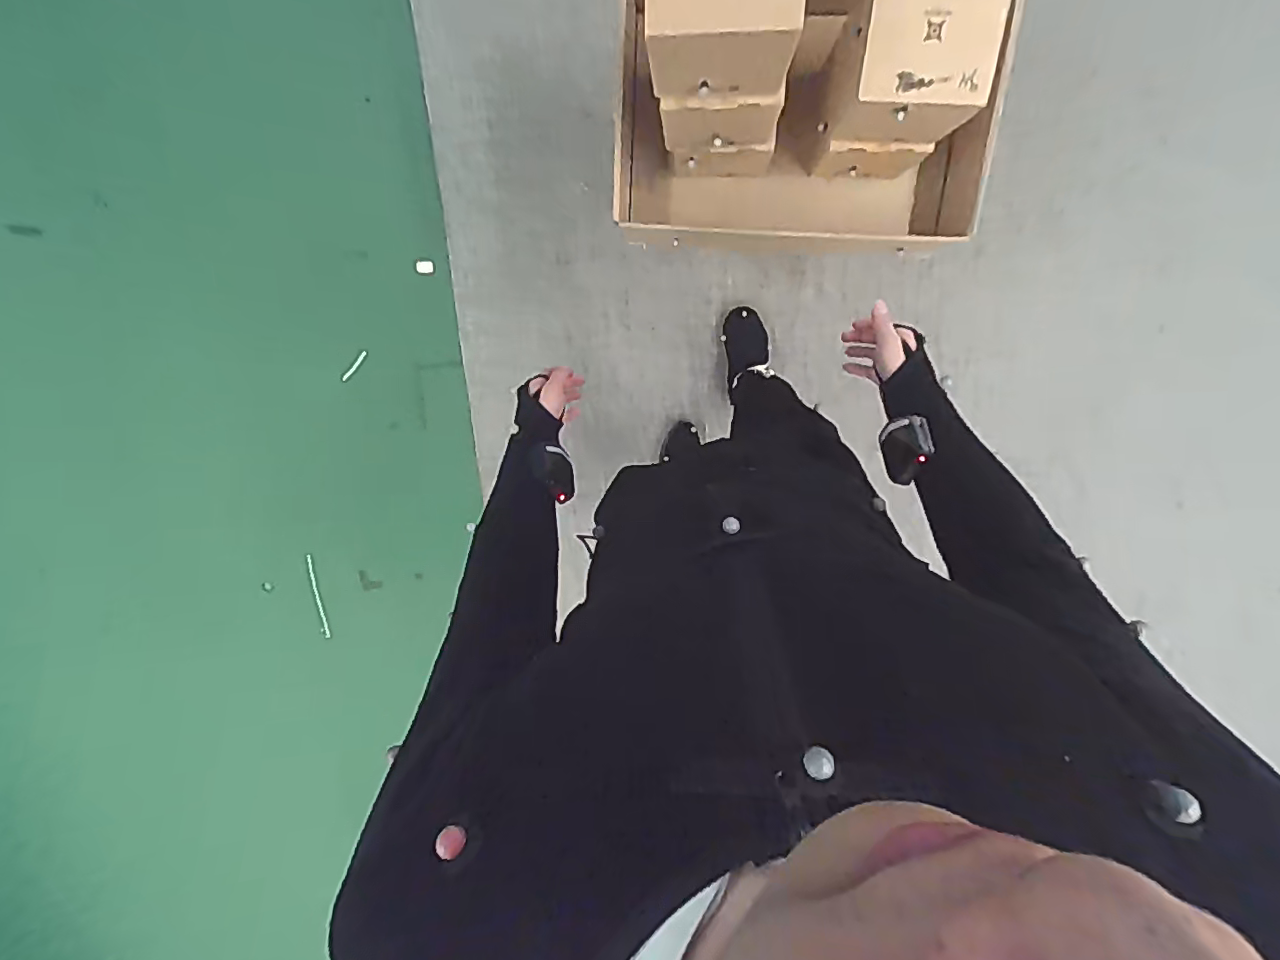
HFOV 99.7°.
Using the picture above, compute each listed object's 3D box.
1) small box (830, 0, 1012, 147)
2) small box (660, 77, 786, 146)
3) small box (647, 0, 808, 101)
[{"bbox_3d":[0.377,-0.591,0.752,0.168,0.176,0.179,6,108,3],"label":"small box"},{"bbox_3d":[0.114,-0.600,0.769,0.168,0.176,0.179,1,107,5],"label":"small box"},{"bbox_3d":[0.096,-0.562,0.611,0.168,0.176,0.179,2,107,5],"label":"small box"}]
